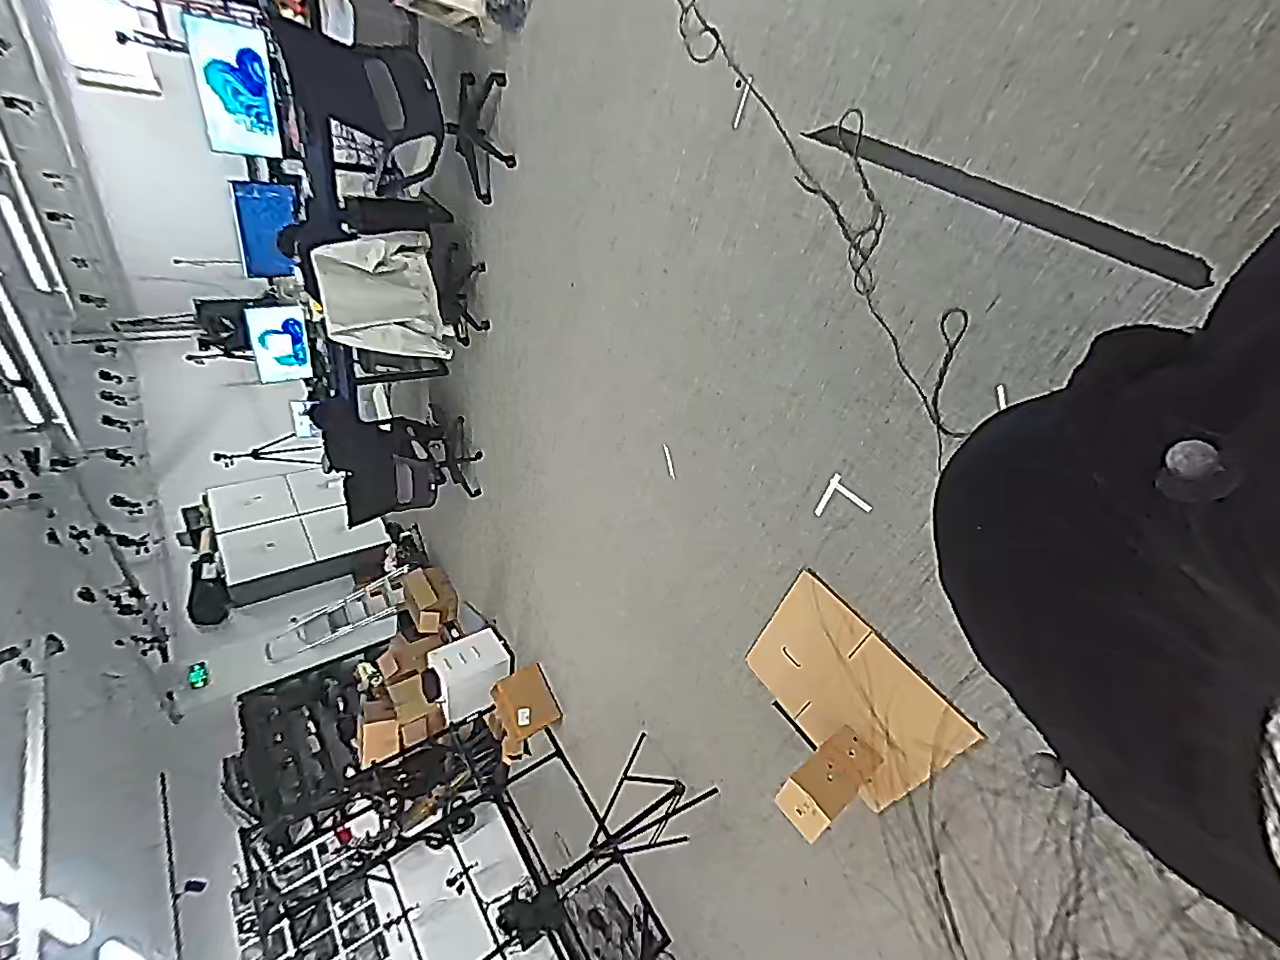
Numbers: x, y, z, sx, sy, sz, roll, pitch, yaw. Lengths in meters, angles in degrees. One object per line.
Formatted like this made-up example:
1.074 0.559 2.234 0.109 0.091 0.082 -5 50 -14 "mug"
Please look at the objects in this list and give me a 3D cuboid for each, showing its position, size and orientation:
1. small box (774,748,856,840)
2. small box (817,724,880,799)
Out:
0.582 1.037 1.792 0.168 0.176 0.179 41 134 35 "small box"
0.708 0.994 1.889 0.168 0.176 0.179 41 133 37 "small box"
